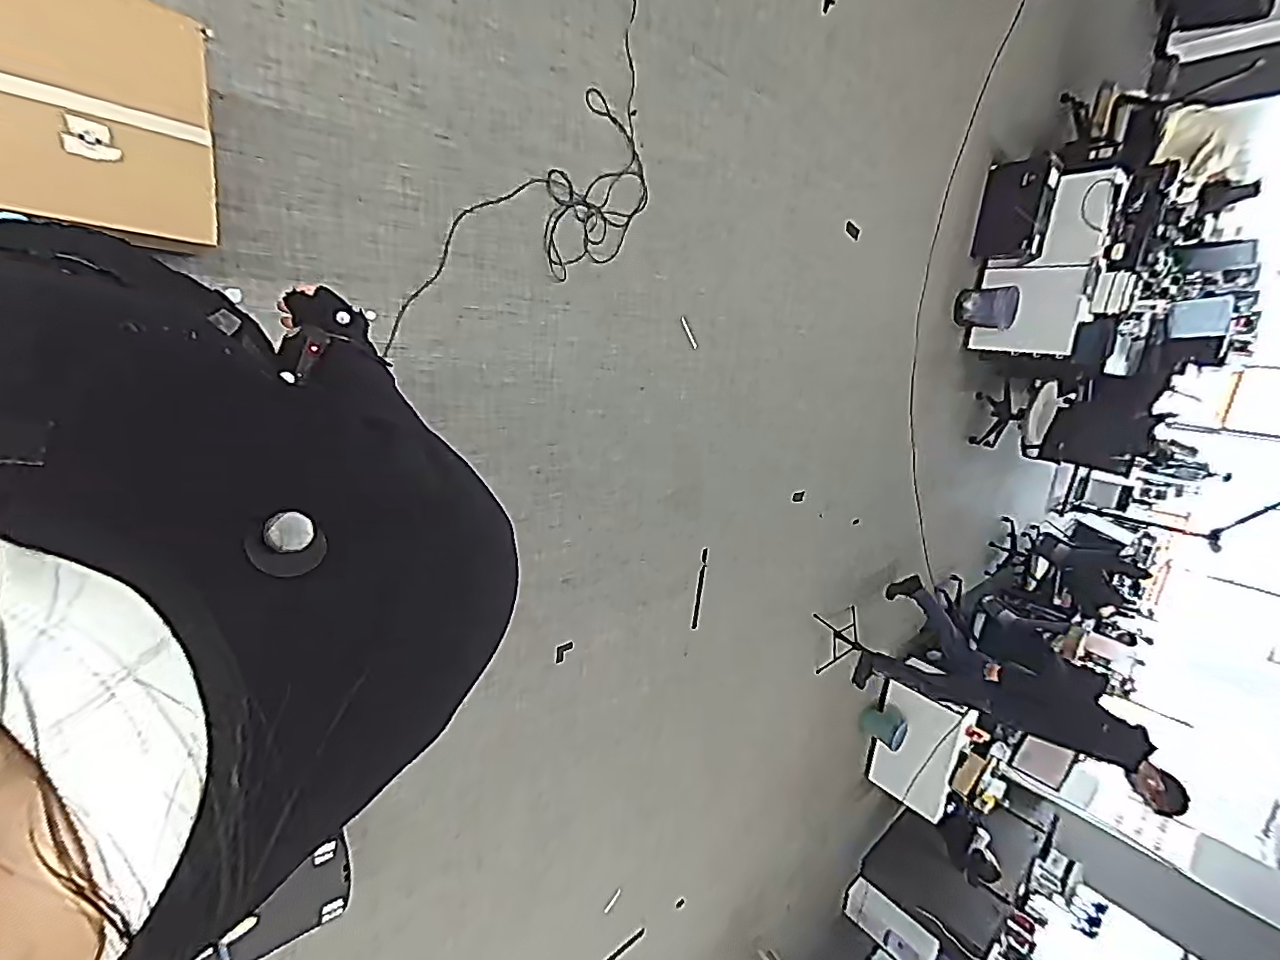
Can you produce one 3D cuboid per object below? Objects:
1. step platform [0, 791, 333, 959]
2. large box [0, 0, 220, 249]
[{"bbox_3d":[-1.116,1.052,1.275,0.684,0.204,0.286,-9,110,-38],"label":"step platform"},{"bbox_3d":[-0.913,-0.560,0.818,0.408,0.320,0.320,-5,109,-42],"label":"large box"}]
